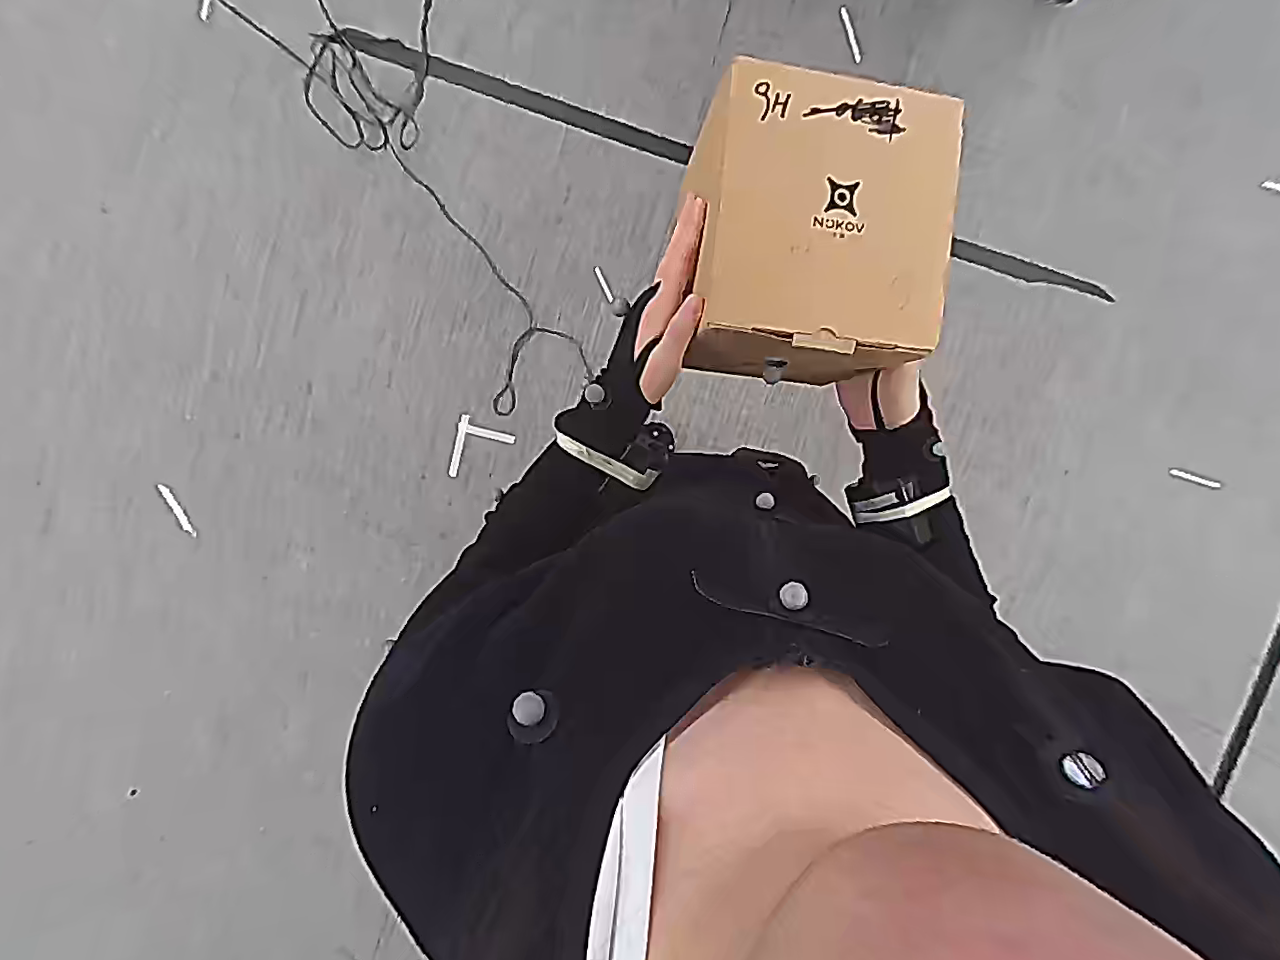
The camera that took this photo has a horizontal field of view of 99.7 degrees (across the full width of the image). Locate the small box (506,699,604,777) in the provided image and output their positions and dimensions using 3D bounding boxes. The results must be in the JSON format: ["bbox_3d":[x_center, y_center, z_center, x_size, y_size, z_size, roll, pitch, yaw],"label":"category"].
[{"bbox_3d":[-0.163,0.535,1.000,0.168,0.176,0.179,12,95,-2],"label":"small box"}]

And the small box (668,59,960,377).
[{"bbox_3d":[0.122,-0.187,0.447,0.168,0.176,0.179,5,92,-8],"label":"small box"}]
